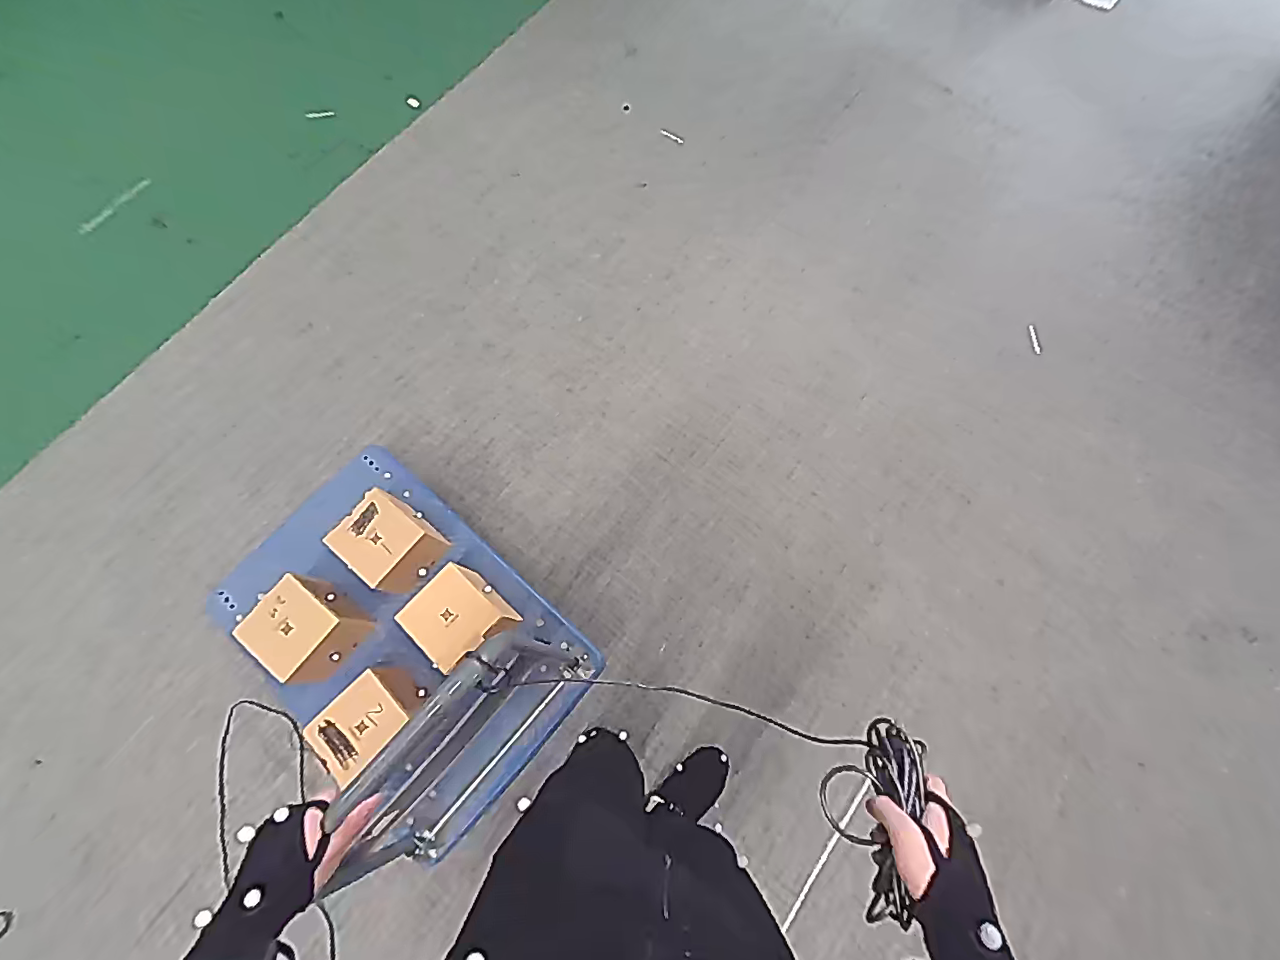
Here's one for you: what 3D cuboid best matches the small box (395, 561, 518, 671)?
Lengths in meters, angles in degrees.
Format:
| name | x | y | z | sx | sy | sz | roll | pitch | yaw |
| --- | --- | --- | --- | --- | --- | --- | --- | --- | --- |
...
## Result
| name | x | y | z | sx | sy | sz | roll | pitch | yaw |
| --- | --- | --- | --- | --- | --- | --- | --- | --- | --- |
| small box | -0.407 | 0.313 | 1.226 | 0.179 | 0.176 | 0.168 | 41 | 78 | 14 |

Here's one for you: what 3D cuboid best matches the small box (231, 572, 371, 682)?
| name | x | y | z | sx | sy | sz | roll | pitch | yaw |
| --- | --- | --- | --- | --- | --- | --- | --- | --- | --- |
| small box | -0.760 | 0.334 | 1.234 | 0.179 | 0.176 | 0.168 | 36 | 76 | 13 |

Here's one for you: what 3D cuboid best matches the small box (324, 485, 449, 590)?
| name | x | y | z | sx | sy | sz | roll | pitch | yaw |
| --- | --- | --- | --- | --- | --- | --- | --- | --- | --- |
| small box | -0.594 | 0.146 | 1.287 | 0.179 | 0.176 | 0.168 | 38 | 78 | 12 |
